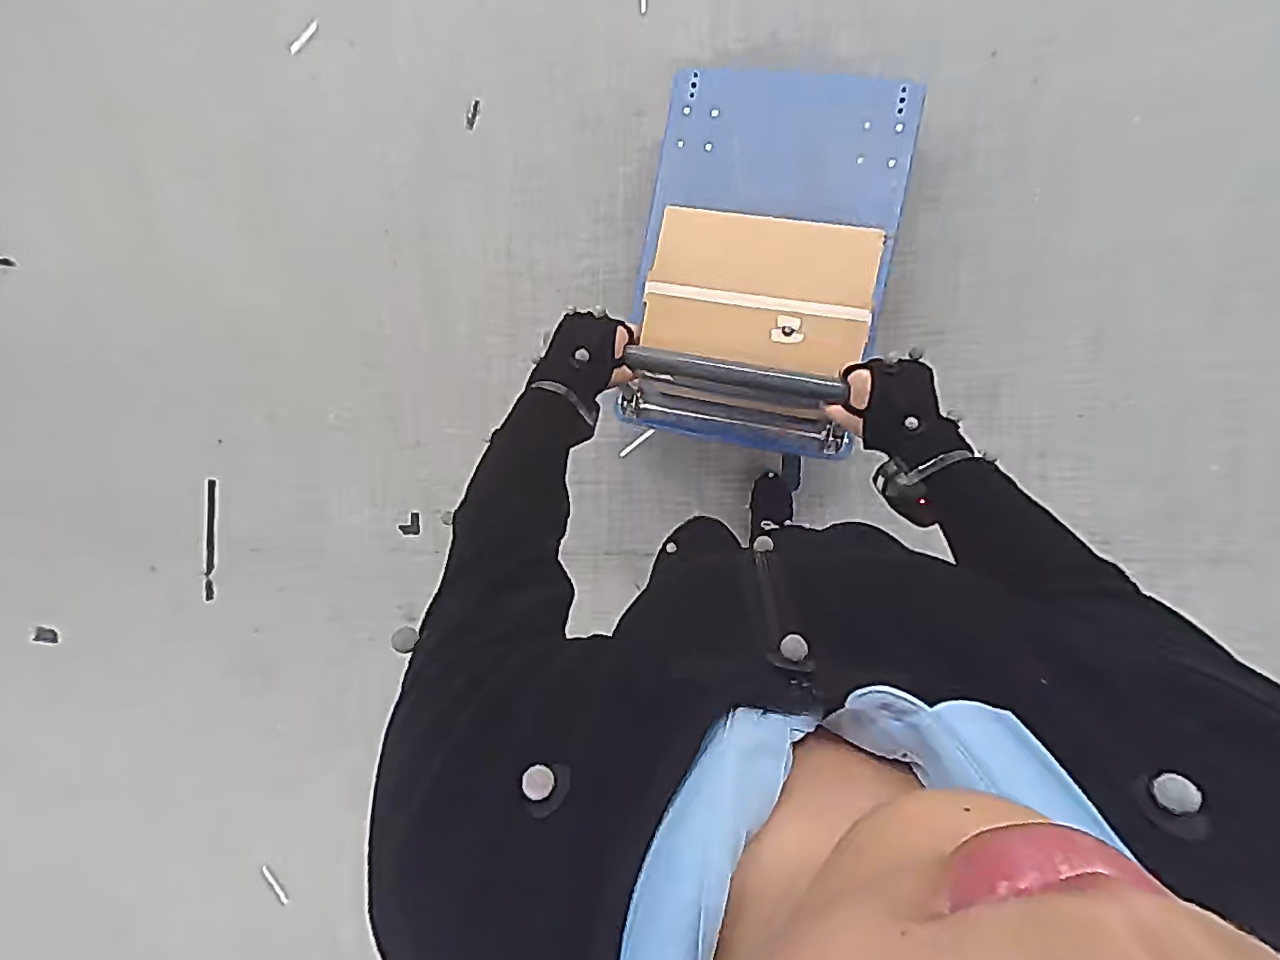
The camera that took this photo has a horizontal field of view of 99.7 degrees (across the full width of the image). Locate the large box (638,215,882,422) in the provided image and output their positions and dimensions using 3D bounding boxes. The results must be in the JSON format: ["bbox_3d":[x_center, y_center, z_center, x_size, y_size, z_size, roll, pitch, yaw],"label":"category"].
[{"bbox_3d":[0.234,-0.317,1.138,0.408,0.320,0.320,11,93,9],"label":"large box"}]
